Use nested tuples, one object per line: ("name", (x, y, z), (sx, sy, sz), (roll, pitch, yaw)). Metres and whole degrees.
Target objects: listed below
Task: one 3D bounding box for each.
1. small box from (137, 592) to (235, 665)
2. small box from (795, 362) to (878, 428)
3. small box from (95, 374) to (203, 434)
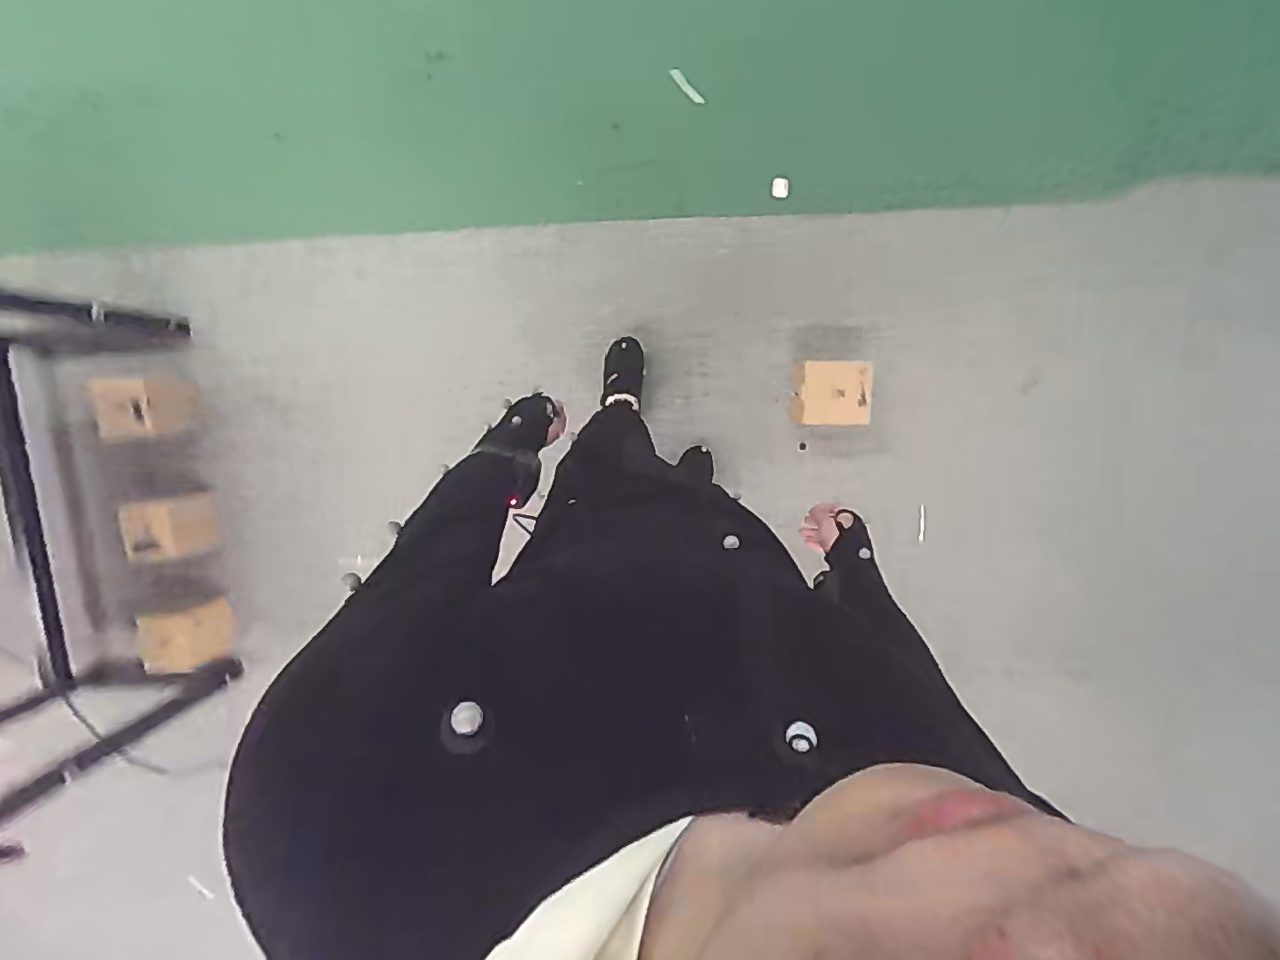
("small box", (-1.439, 0.471, 1.726), (0.168, 0.176, 0.179), (-2, 97, 5))
("small box", (0.523, -0.227, 1.462), (0.179, 0.176, 0.168), (2, 98, 5))
("small box", (-1.470, -0.231, 1.636), (0.179, 0.176, 0.168), (-4, 97, 6))
